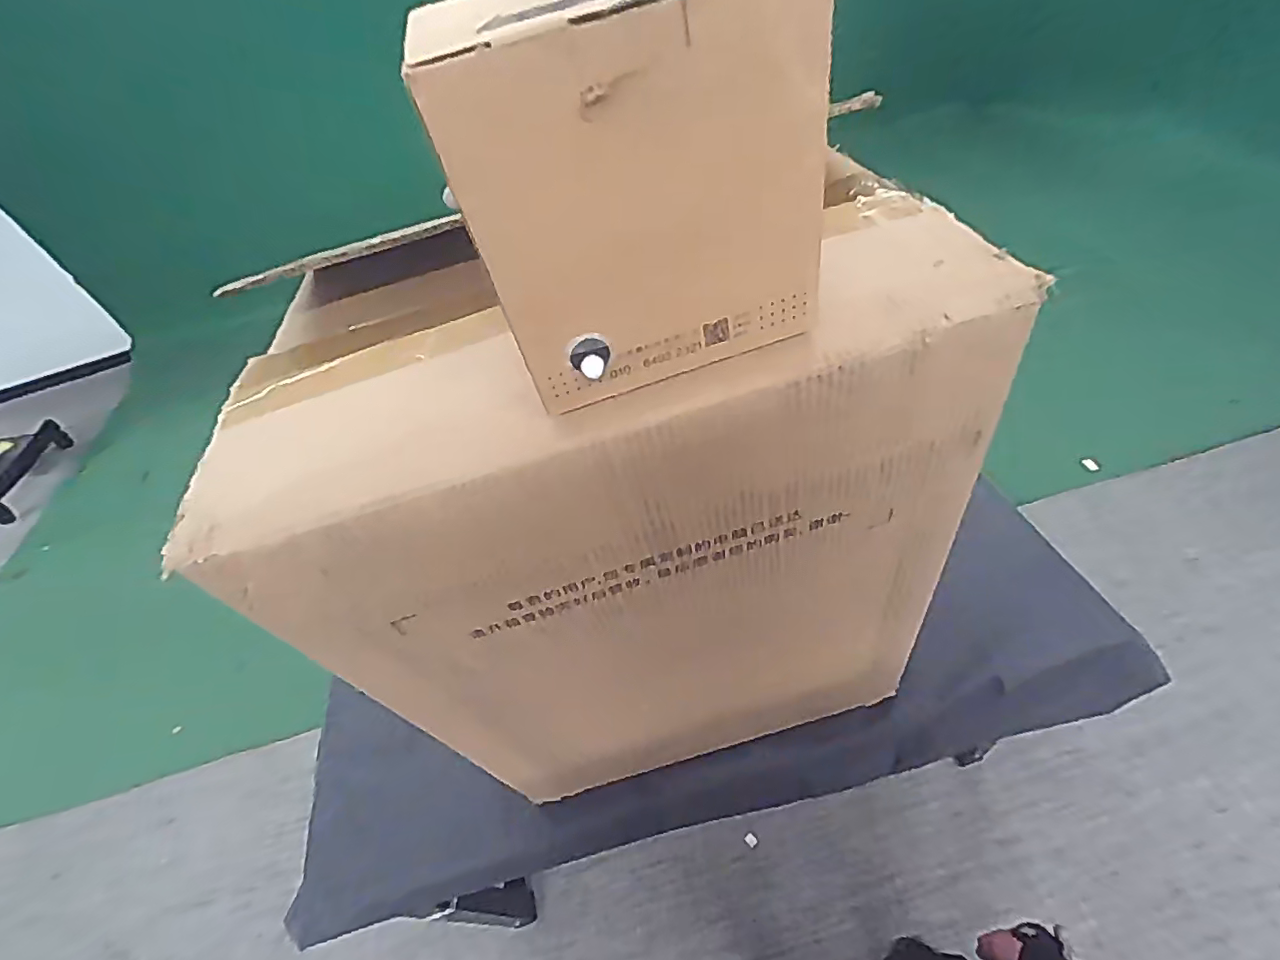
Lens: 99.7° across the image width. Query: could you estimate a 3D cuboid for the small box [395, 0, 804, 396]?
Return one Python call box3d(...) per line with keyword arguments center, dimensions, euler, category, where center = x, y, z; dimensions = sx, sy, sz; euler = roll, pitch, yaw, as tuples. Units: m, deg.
box3d(center=(-0.016, -0.168, 0.311), dimensions=(0.168, 0.176, 0.179), euler=(-19, 47, -2), category="small box")
